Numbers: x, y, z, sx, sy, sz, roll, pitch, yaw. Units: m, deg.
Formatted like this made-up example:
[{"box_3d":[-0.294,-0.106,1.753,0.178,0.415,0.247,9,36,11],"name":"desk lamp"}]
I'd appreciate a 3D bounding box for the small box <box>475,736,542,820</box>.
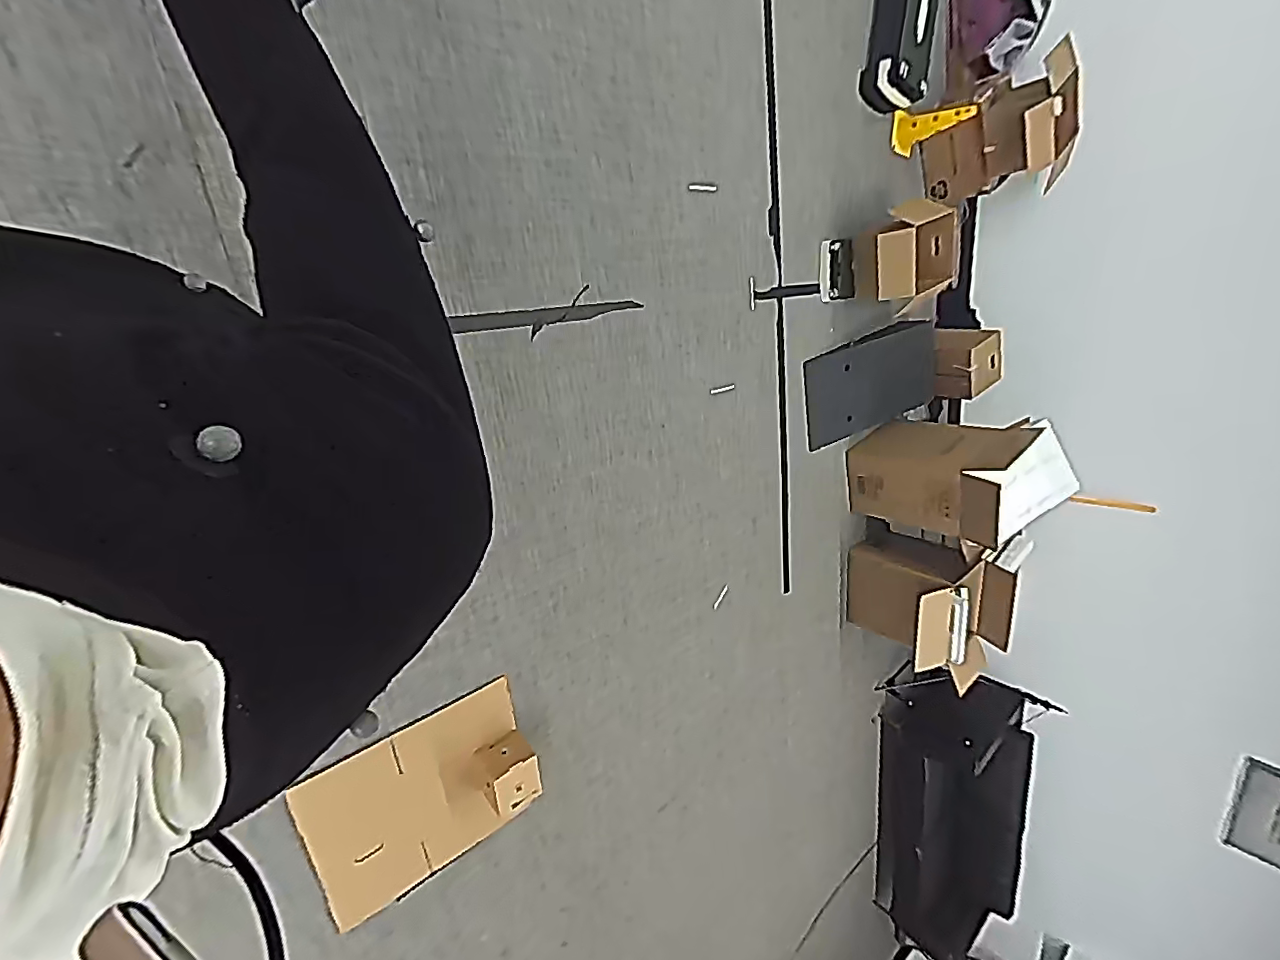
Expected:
[{"box_3d":[-0.470,1.043,1.917,0.168,0.176,0.179,-17,110,-36],"name":"small box"}]
